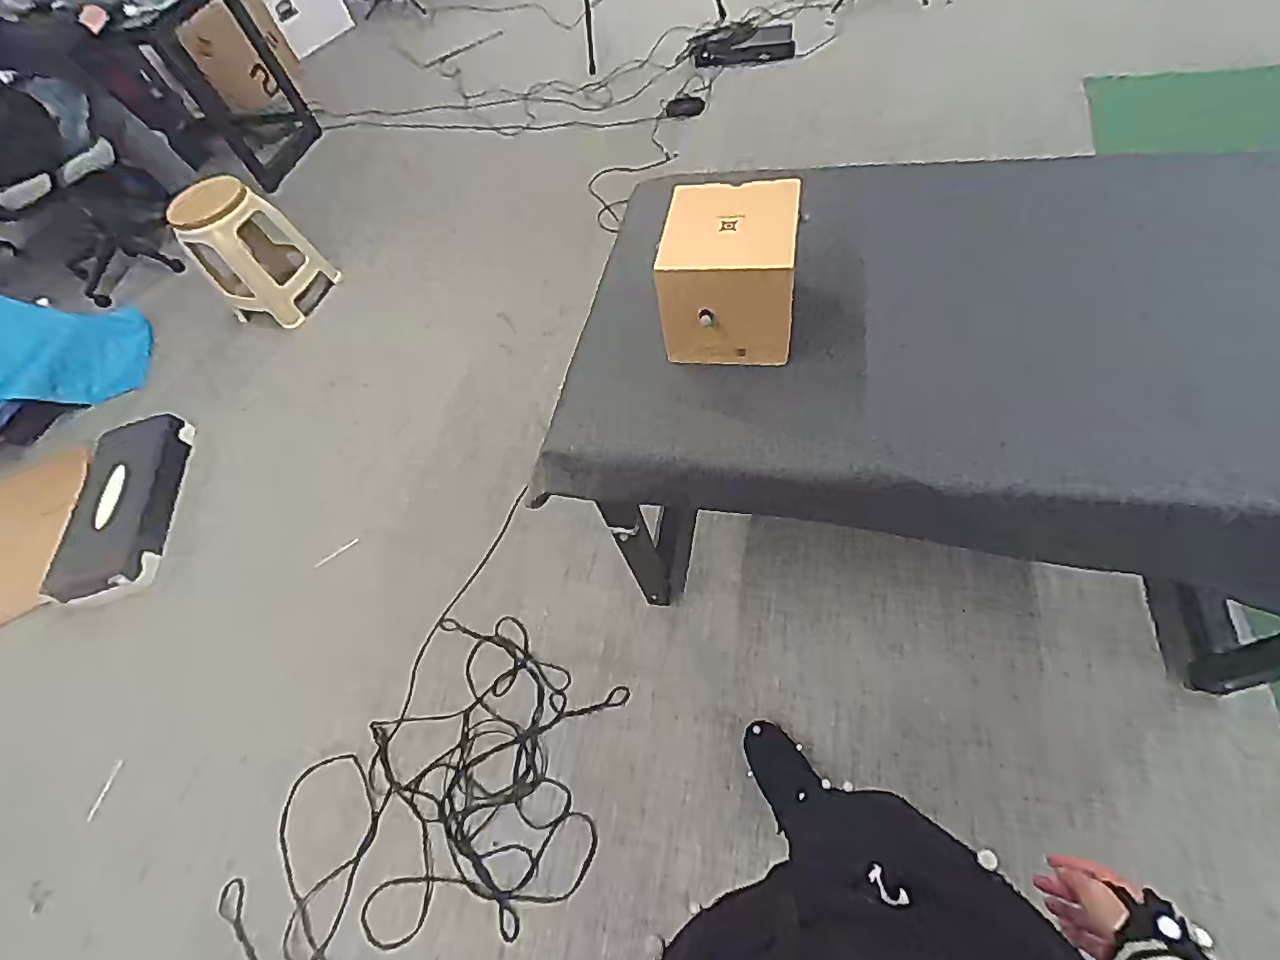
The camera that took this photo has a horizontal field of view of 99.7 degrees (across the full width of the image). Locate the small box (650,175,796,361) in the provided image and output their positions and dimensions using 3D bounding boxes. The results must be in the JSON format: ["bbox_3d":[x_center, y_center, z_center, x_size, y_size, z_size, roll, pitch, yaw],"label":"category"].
[{"bbox_3d":[0.120,-0.279,0.737,0.168,0.176,0.179,4,59,14],"label":"small box"}]
